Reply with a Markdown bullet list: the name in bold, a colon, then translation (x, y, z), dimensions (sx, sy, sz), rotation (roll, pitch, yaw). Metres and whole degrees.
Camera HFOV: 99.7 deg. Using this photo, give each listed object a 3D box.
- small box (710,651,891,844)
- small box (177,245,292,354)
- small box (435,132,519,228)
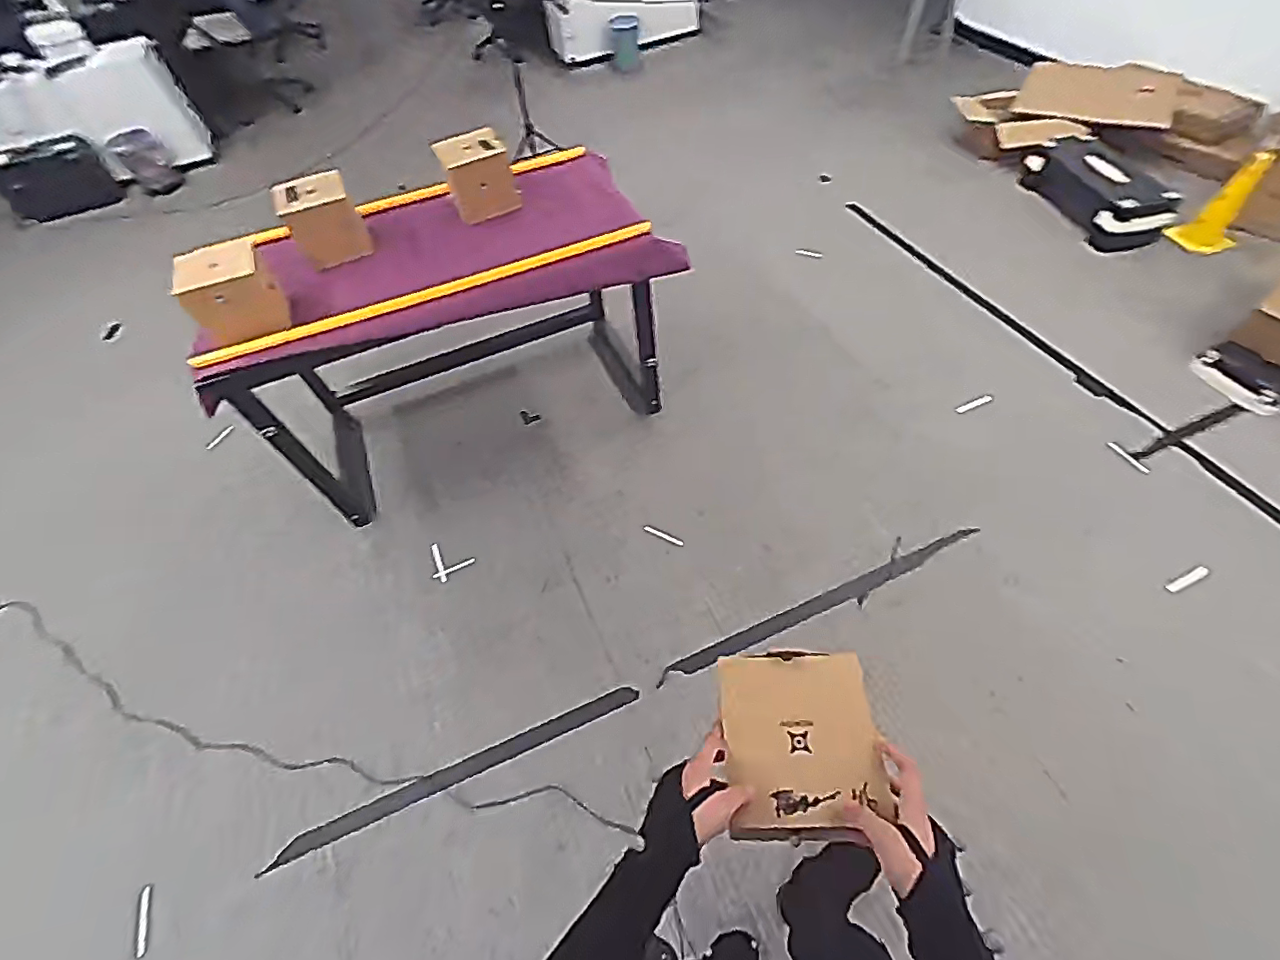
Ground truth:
- **small box**: translation (0.171, 0.321, 0.644), dimensions (0.168, 0.176, 0.179), rotation (-5, 53, 5)
- **small box**: translation (-0.997, -0.446, 1.346), dimensions (0.179, 0.176, 0.168), rotation (-23, 56, -11)
- **small box**: translation (-0.472, -0.879, 1.592), dimensions (0.179, 0.176, 0.168), rotation (-25, 58, -10)
